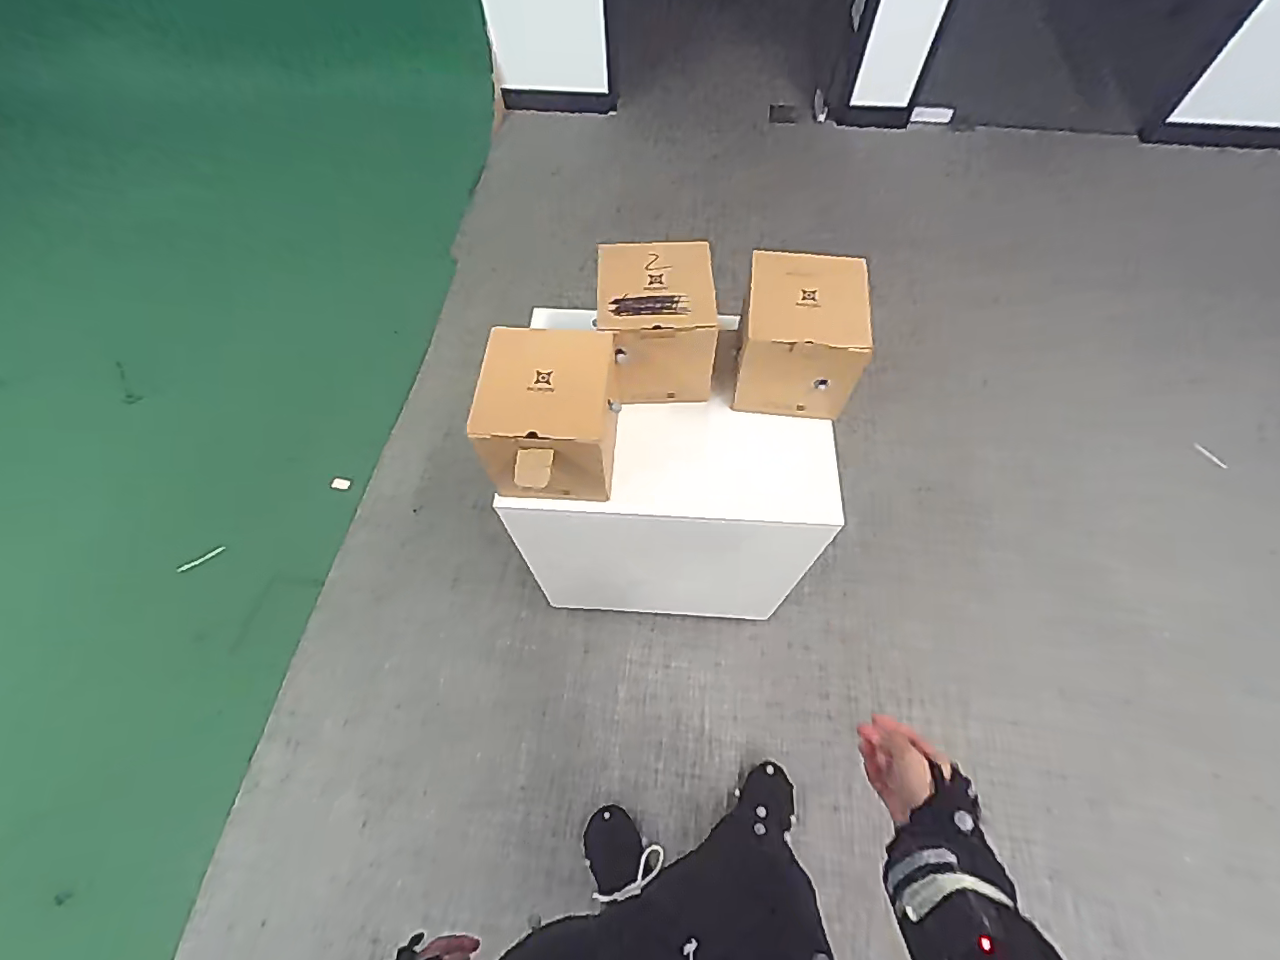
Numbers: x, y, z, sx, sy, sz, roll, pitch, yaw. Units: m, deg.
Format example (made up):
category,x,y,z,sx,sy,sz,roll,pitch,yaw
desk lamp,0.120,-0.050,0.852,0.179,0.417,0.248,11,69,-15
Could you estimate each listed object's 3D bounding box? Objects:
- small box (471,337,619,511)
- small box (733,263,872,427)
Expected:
category,x,y,z,sx,sy,sz,roll,pitch,yaw
small box,-0.118,-0.074,0.758,0.168,0.176,0.179,3,62,2
small box,0.237,-0.199,0.824,0.168,0.176,0.179,6,61,4
